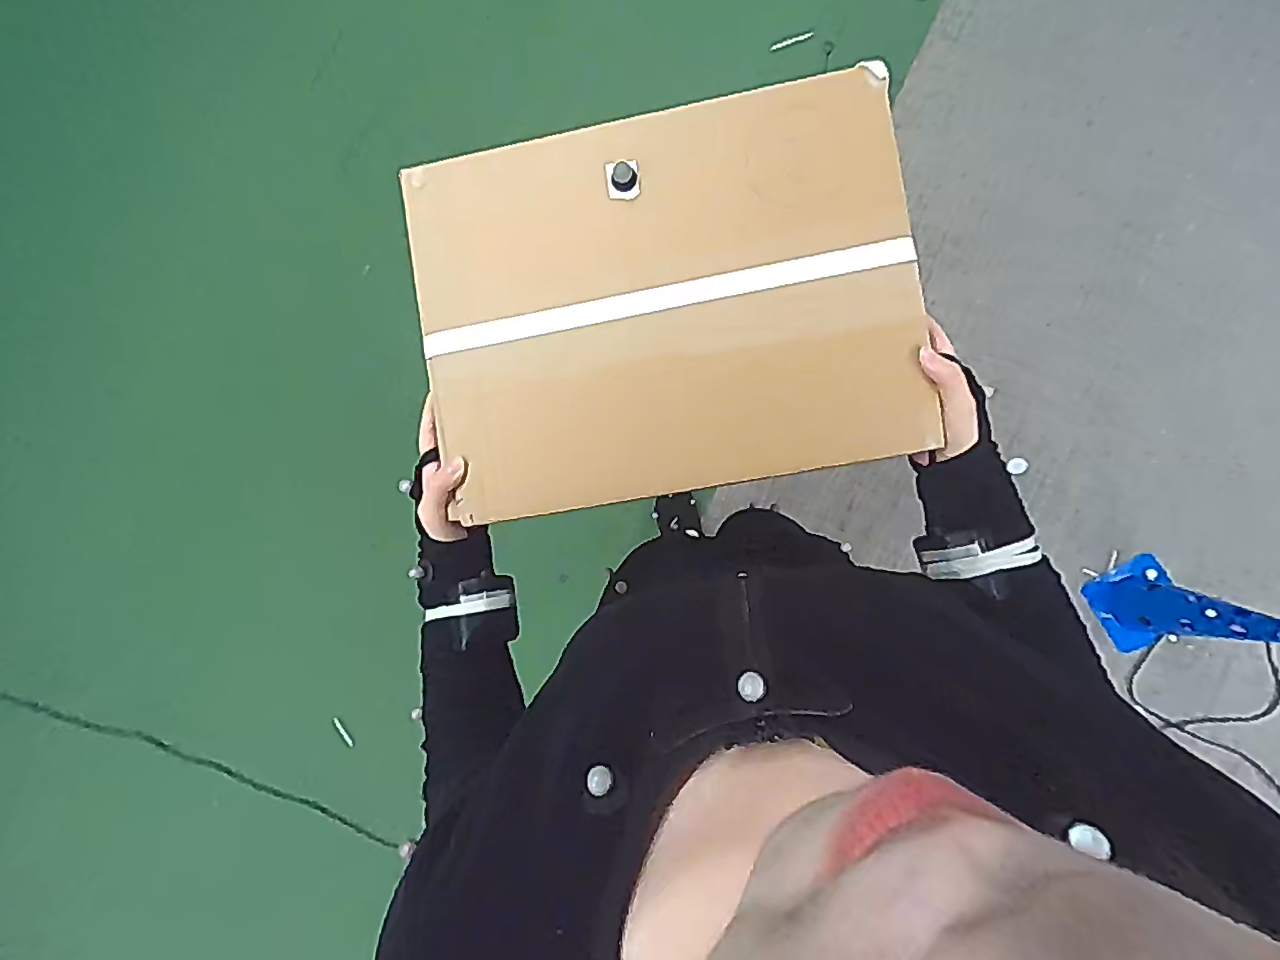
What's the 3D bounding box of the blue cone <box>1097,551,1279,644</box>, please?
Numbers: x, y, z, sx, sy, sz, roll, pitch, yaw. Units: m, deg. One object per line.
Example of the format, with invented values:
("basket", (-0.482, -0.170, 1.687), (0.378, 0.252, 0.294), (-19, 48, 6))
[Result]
("blue cone", (1.250, 0.282, 1.188), (0.192, 0.380, 0.193), (-33, 83, 2))
